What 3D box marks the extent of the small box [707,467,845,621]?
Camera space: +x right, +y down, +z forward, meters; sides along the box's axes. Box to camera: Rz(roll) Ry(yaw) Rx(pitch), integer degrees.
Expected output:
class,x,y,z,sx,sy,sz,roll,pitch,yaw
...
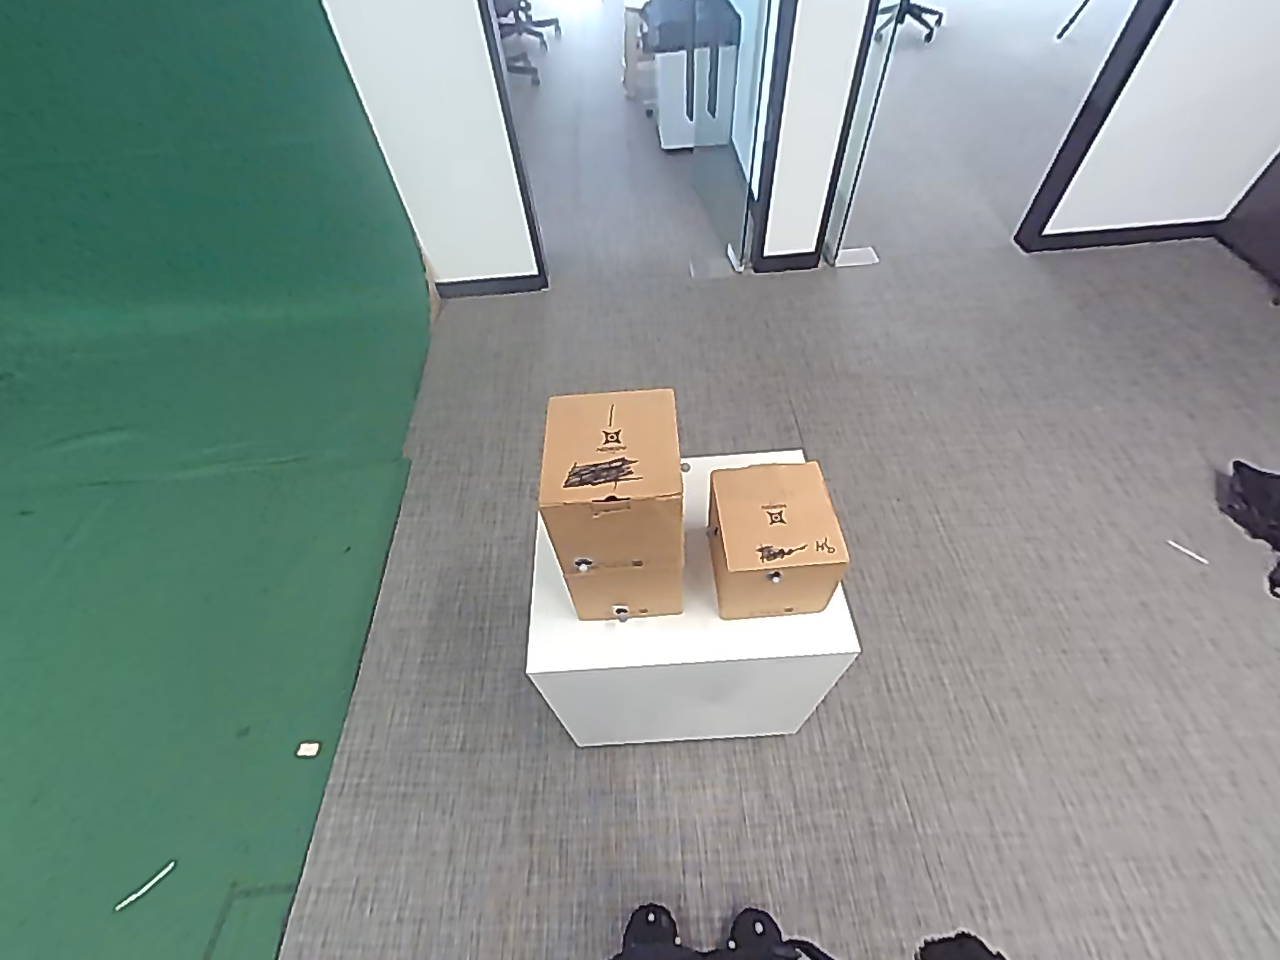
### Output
class,x,y,z,sx,sy,sz,roll,pitch,yaw
small box,0.197,0.101,0.844,0.168,0.176,0.179,-4,52,1

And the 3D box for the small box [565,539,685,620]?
class,x,y,z,sx,sy,sz,roll,pitch,yaw
small box,-0.023,0.099,0.844,0.168,0.176,0.179,-6,54,0

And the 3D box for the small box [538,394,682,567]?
class,x,y,z,sx,sy,sz,roll,pitch,yaw
small box,-0.031,0.008,0.727,0.168,0.176,0.179,-3,51,2
